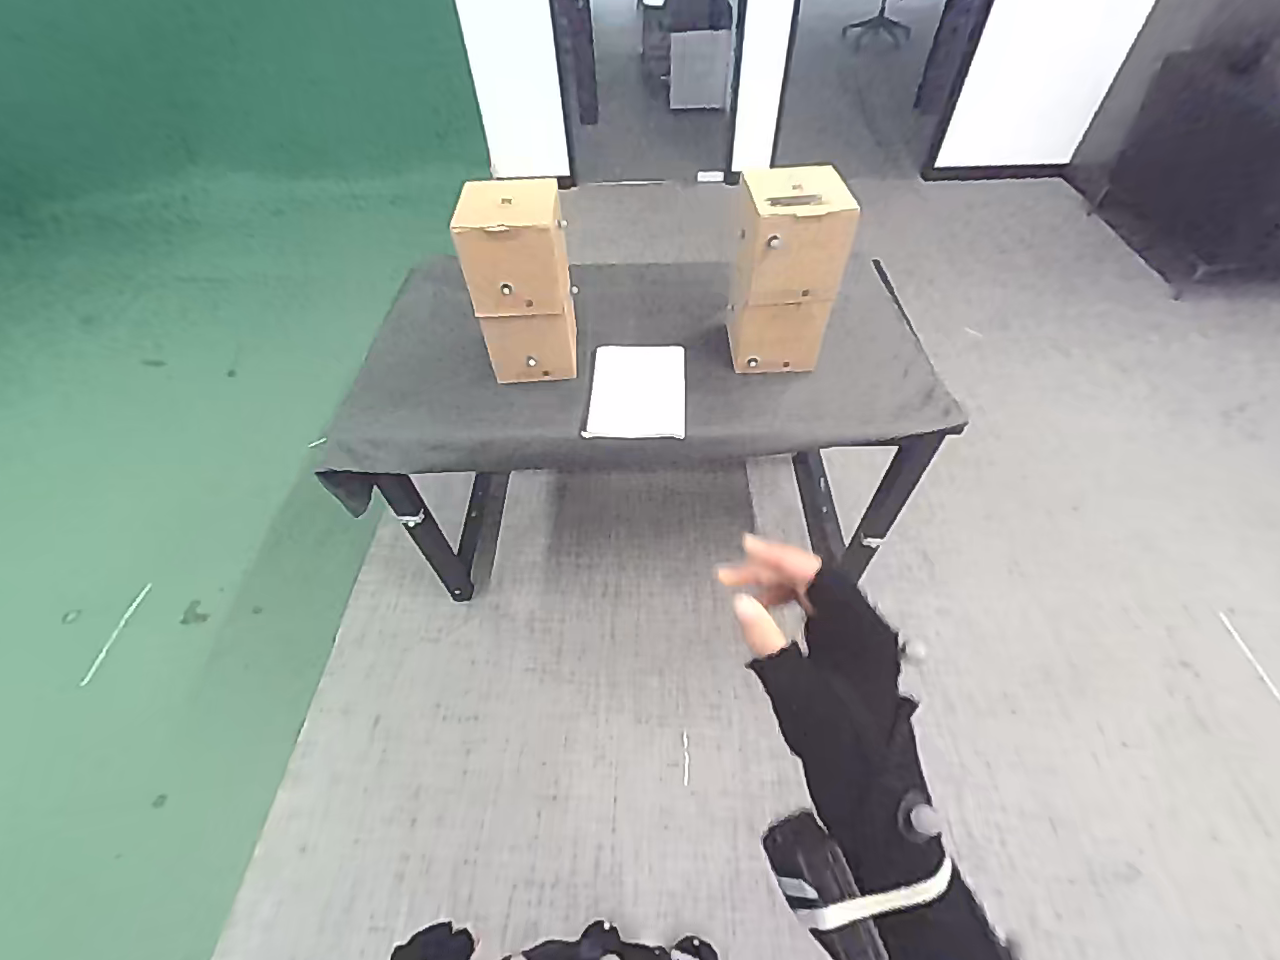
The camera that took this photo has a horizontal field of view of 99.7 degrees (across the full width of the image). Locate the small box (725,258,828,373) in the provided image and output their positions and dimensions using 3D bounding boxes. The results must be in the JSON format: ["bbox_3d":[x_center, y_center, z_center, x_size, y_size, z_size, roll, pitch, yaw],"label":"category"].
[{"bbox_3d":[0.273,-0.335,1.120,0.168,0.176,0.179,-1,50,0],"label":"small box"}]

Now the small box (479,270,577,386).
[{"bbox_3d":[-0.223,-0.316,1.118,0.168,0.176,0.179,-4,51,-2],"label":"small box"}]

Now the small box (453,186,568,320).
[{"bbox_3d":[-0.225,-0.412,0.987,0.168,0.176,0.179,-3,51,-2],"label":"small box"}]
